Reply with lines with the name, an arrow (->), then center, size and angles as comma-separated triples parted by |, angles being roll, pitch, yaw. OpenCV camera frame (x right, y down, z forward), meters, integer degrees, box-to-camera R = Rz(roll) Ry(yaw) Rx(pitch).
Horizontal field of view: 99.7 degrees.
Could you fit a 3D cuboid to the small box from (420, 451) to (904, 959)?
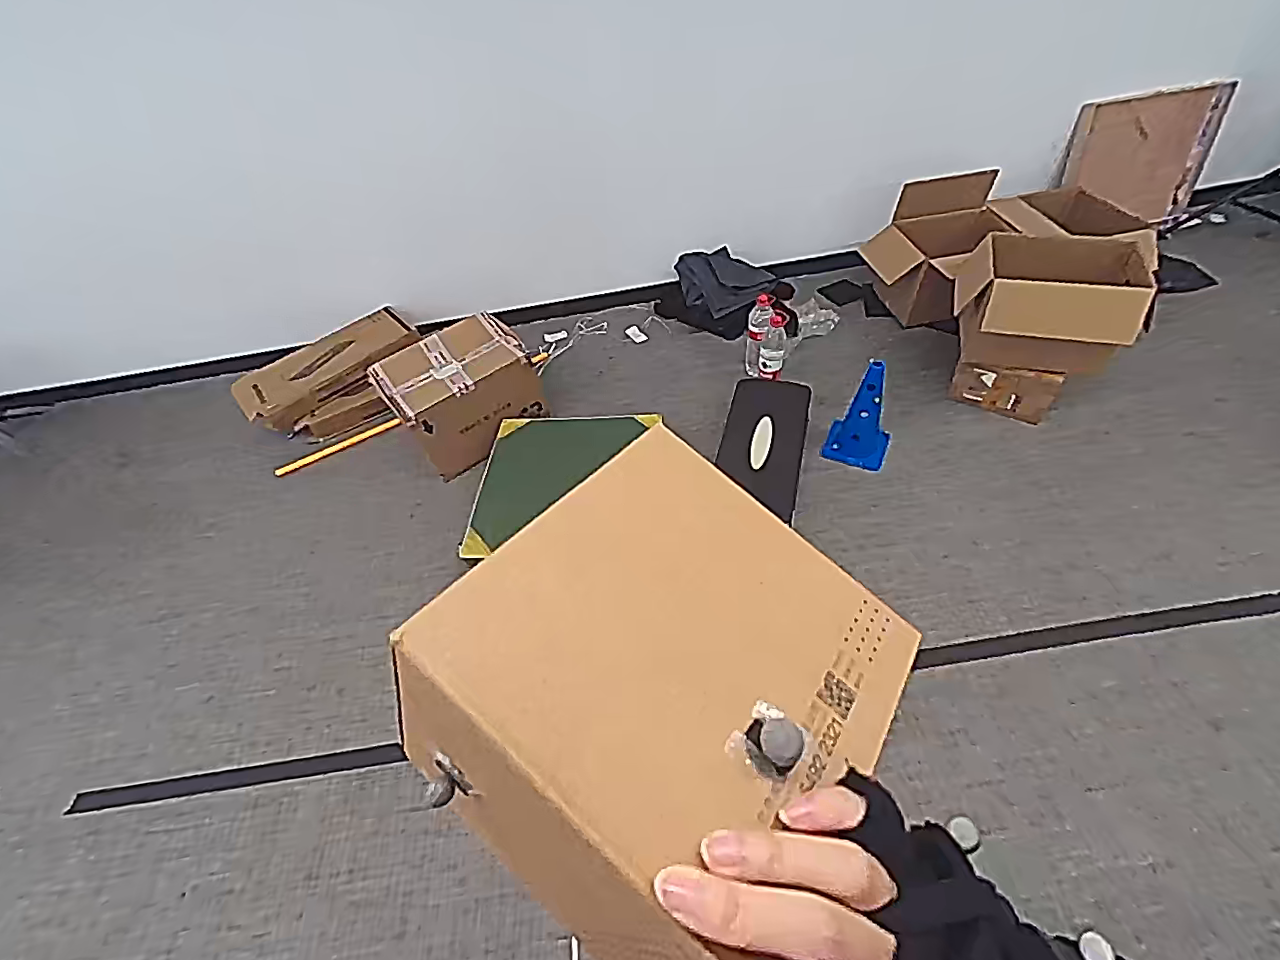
small box -> 0.003, 0.125, 0.300 | 0.176, 0.179, 0.168 | 39, 50, 11
